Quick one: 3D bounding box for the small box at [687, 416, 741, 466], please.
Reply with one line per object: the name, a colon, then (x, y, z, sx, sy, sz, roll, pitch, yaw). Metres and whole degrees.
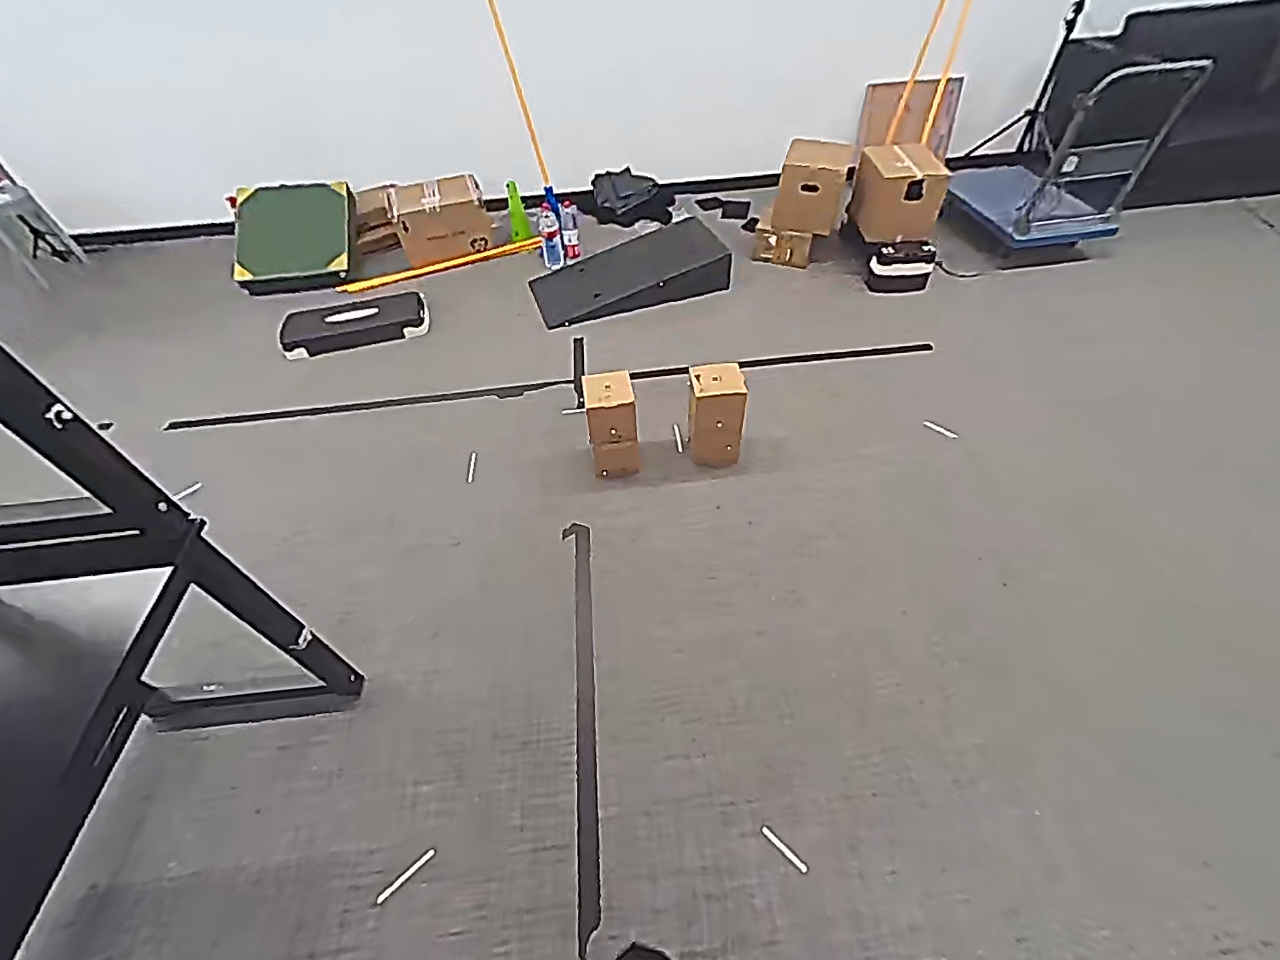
small box: (0.270, -0.169, 2.010, 0.179, 0.176, 0.168, -4, 48, 0)

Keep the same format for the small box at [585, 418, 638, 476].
small box: (-0.104, -0.132, 1.993, 0.168, 0.176, 0.179, -9, 48, -6)

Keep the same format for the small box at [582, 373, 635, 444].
small box: (-0.109, -0.247, 1.875, 0.168, 0.176, 0.179, -8, 49, -4)

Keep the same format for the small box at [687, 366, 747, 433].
small box: (0.262, -0.280, 1.890, 0.179, 0.176, 0.168, -4, 47, -2)
